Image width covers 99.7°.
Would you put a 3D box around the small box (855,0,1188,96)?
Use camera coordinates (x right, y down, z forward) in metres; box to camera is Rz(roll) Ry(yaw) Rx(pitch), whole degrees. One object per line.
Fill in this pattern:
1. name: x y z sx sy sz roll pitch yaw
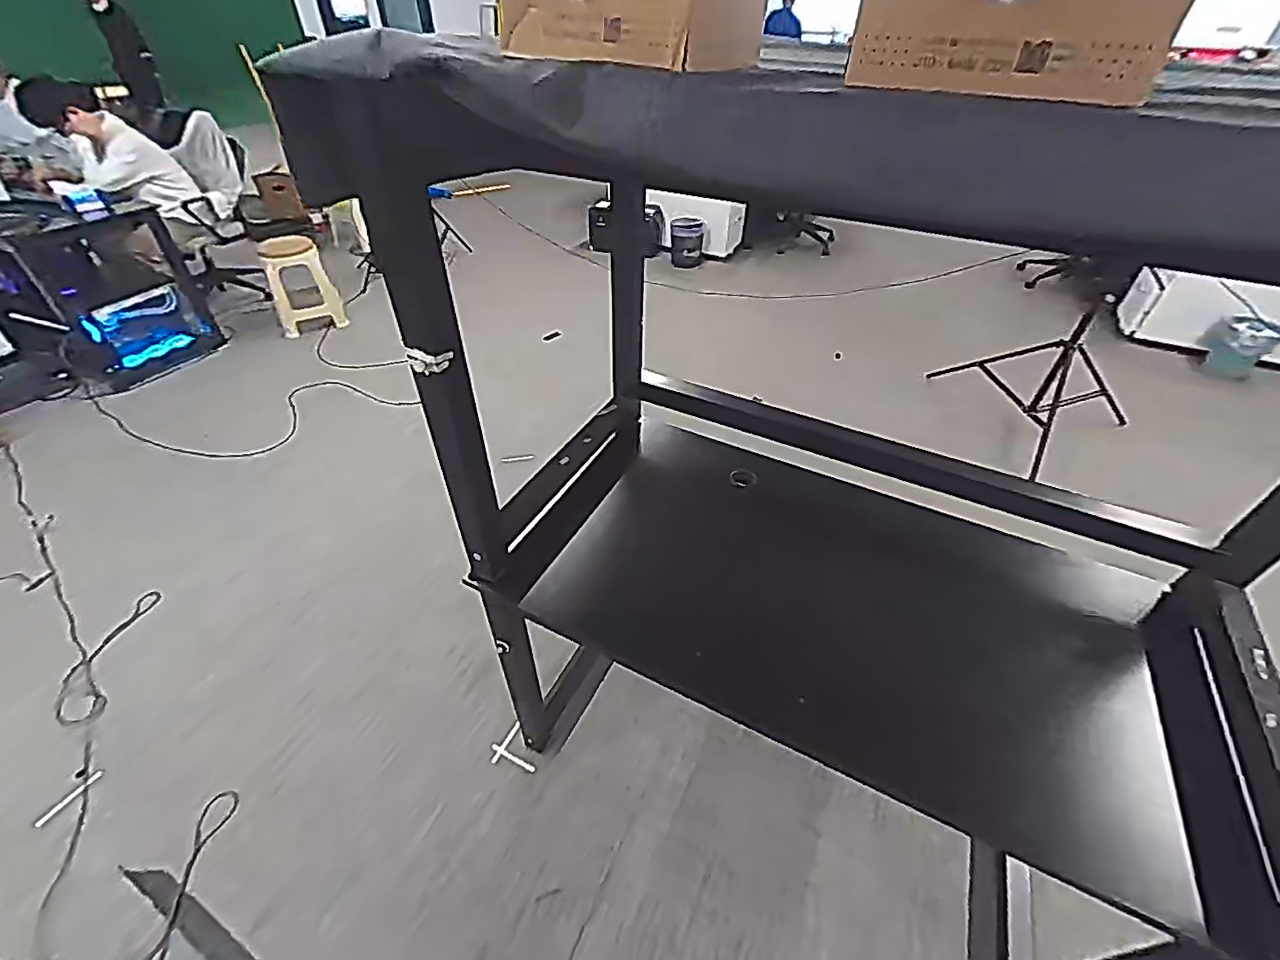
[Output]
1. small box: 0.248 -0.348 0.330 0.168 0.176 0.179 20 43 21

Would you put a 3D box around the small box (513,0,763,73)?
1. small box: 0.005 -0.433 0.420 0.168 0.176 0.179 20 43 18
